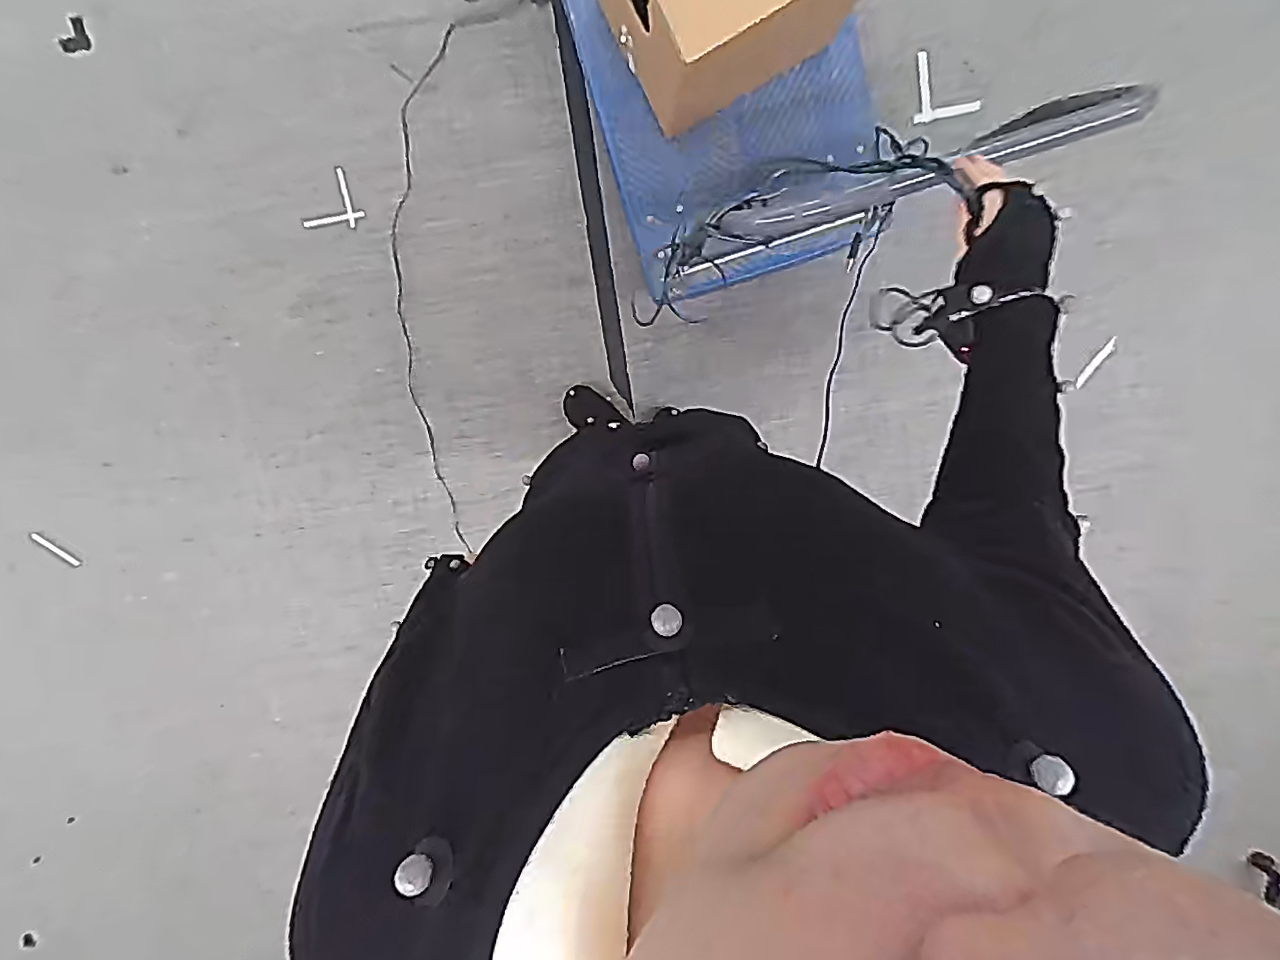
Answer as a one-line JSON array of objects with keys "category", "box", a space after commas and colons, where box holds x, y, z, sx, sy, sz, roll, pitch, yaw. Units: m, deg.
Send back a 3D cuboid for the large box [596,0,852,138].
[{"category": "large box", "box": [0.159, -0.936, 0.993, 0.408, 0.320, 0.320, -29, 102, 3]}]
